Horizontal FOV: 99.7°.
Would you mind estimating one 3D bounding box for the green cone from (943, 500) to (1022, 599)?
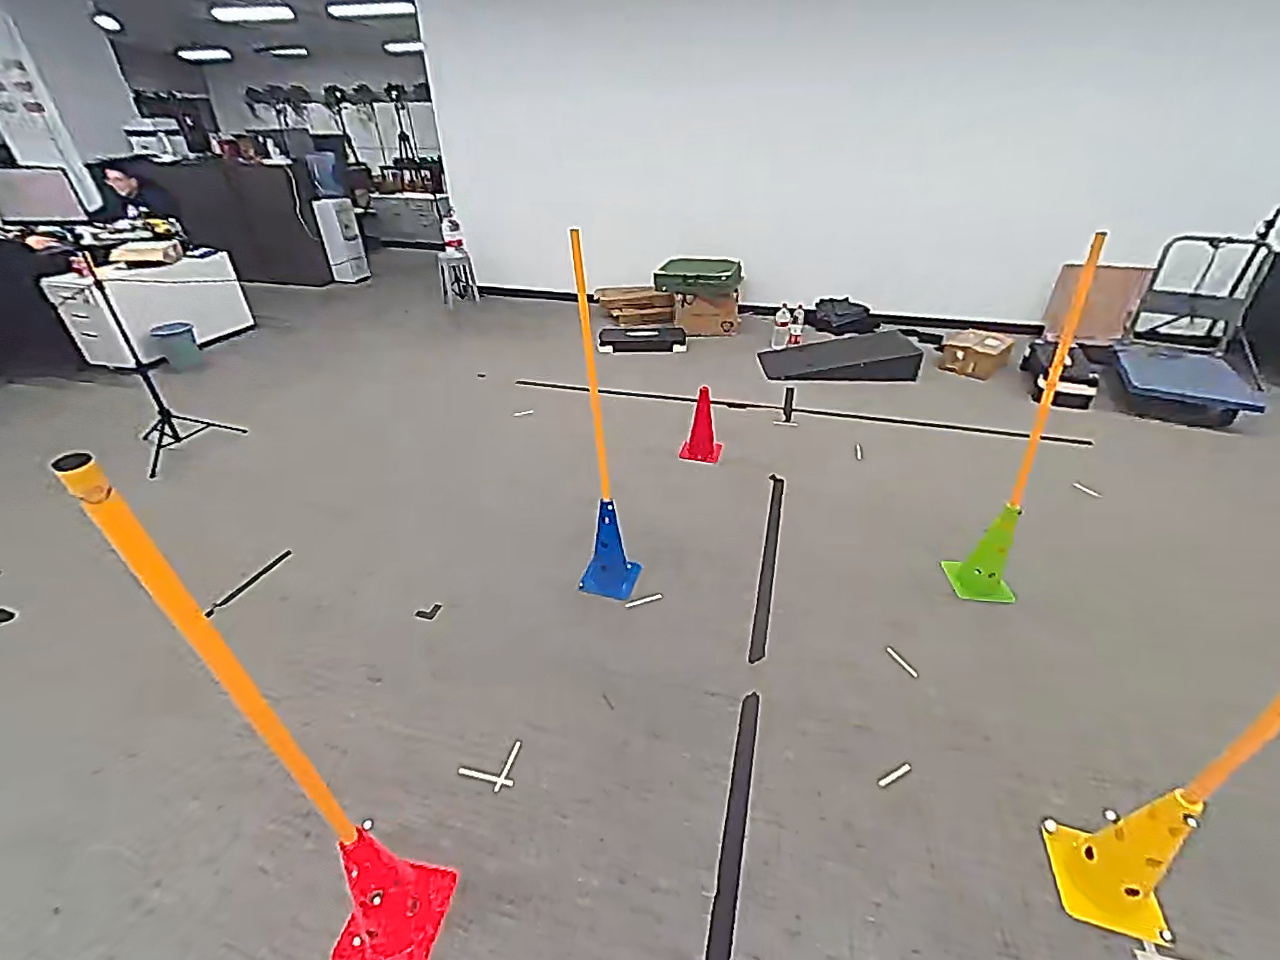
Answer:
[{"bbox_3d":[1.253,0.224,1.912,0.200,0.368,0.202,2,35,4],"label":"green cone"}]

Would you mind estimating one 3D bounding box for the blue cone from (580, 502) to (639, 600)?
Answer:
[{"bbox_3d":[-0.112,0.231,1.936,0.193,0.380,0.192,10,35,15],"label":"blue cone"}]

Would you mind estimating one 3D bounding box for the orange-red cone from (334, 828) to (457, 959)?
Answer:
[{"bbox_3d":[-0.516,0.784,1.061,0.199,0.360,0.198,6,34,8],"label":"orange-red cone"}]
